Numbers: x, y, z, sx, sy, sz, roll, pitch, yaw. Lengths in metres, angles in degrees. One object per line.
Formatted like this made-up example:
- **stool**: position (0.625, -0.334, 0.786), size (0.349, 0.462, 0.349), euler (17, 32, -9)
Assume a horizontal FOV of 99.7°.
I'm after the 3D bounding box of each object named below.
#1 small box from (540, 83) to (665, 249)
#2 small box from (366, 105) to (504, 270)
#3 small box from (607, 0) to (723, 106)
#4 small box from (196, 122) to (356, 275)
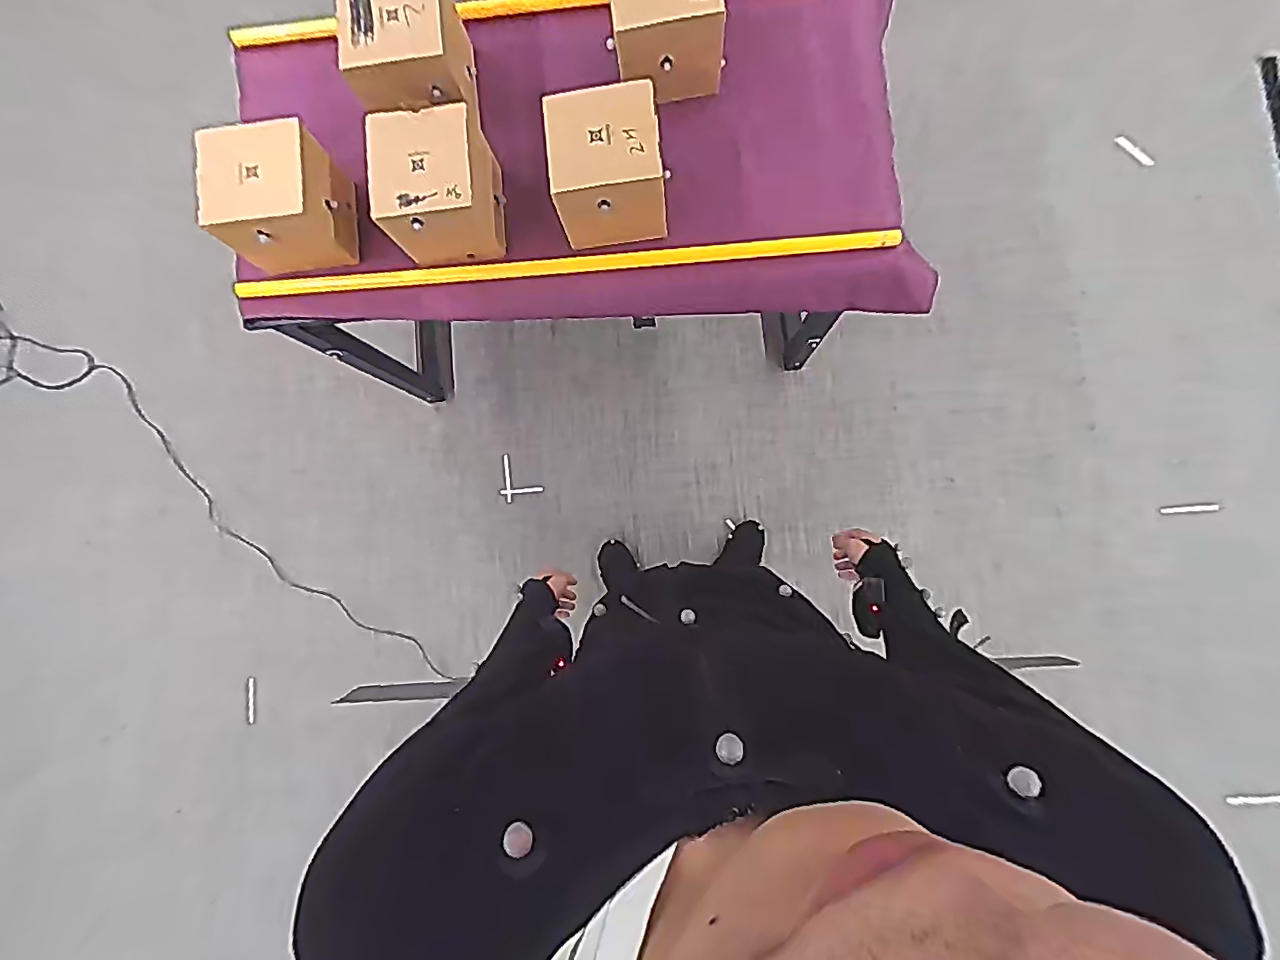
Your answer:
- **small box**: position (-0.056, -0.508, 0.900), size (0.179, 0.176, 0.168), euler (-6, 83, 4)
- **small box**: position (-0.340, -0.487, 0.921), size (0.168, 0.176, 0.179), euler (-5, 84, 6)
- **small box**: position (0.039, -0.773, 0.915), size (0.179, 0.176, 0.168), euler (-7, 86, 5)
- **small box**: position (-0.620, -0.478, 0.942), size (0.179, 0.176, 0.168), euler (-6, 84, 3)
